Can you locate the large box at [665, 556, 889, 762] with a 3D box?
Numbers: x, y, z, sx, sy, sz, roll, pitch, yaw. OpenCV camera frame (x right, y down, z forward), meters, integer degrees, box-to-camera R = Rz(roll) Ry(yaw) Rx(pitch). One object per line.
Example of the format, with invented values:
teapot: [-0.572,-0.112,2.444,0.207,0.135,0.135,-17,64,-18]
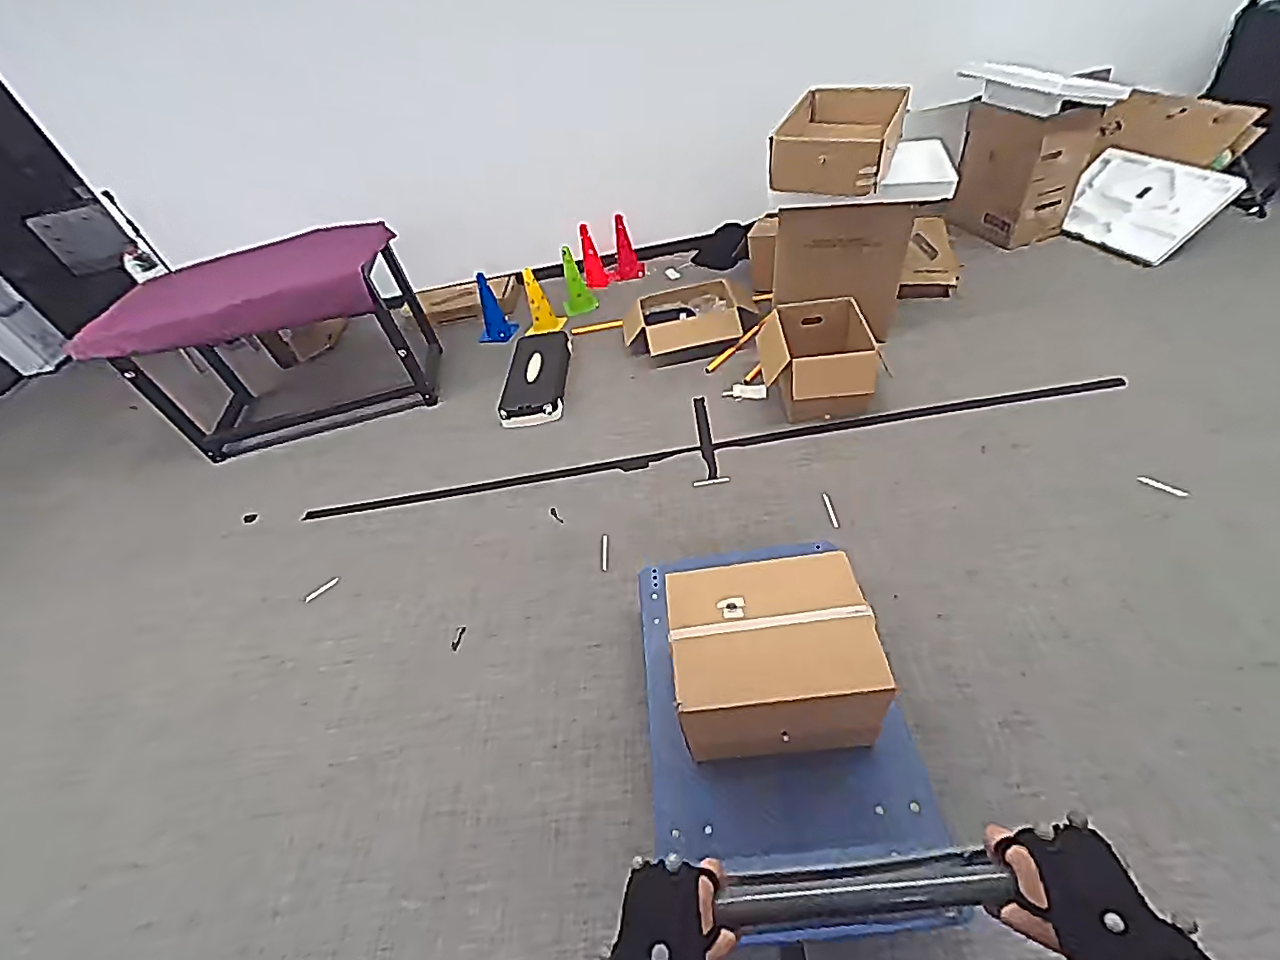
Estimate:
large box: [0.290,0.413,1.226,0.408,0.320,0.320,-10,45,6]
